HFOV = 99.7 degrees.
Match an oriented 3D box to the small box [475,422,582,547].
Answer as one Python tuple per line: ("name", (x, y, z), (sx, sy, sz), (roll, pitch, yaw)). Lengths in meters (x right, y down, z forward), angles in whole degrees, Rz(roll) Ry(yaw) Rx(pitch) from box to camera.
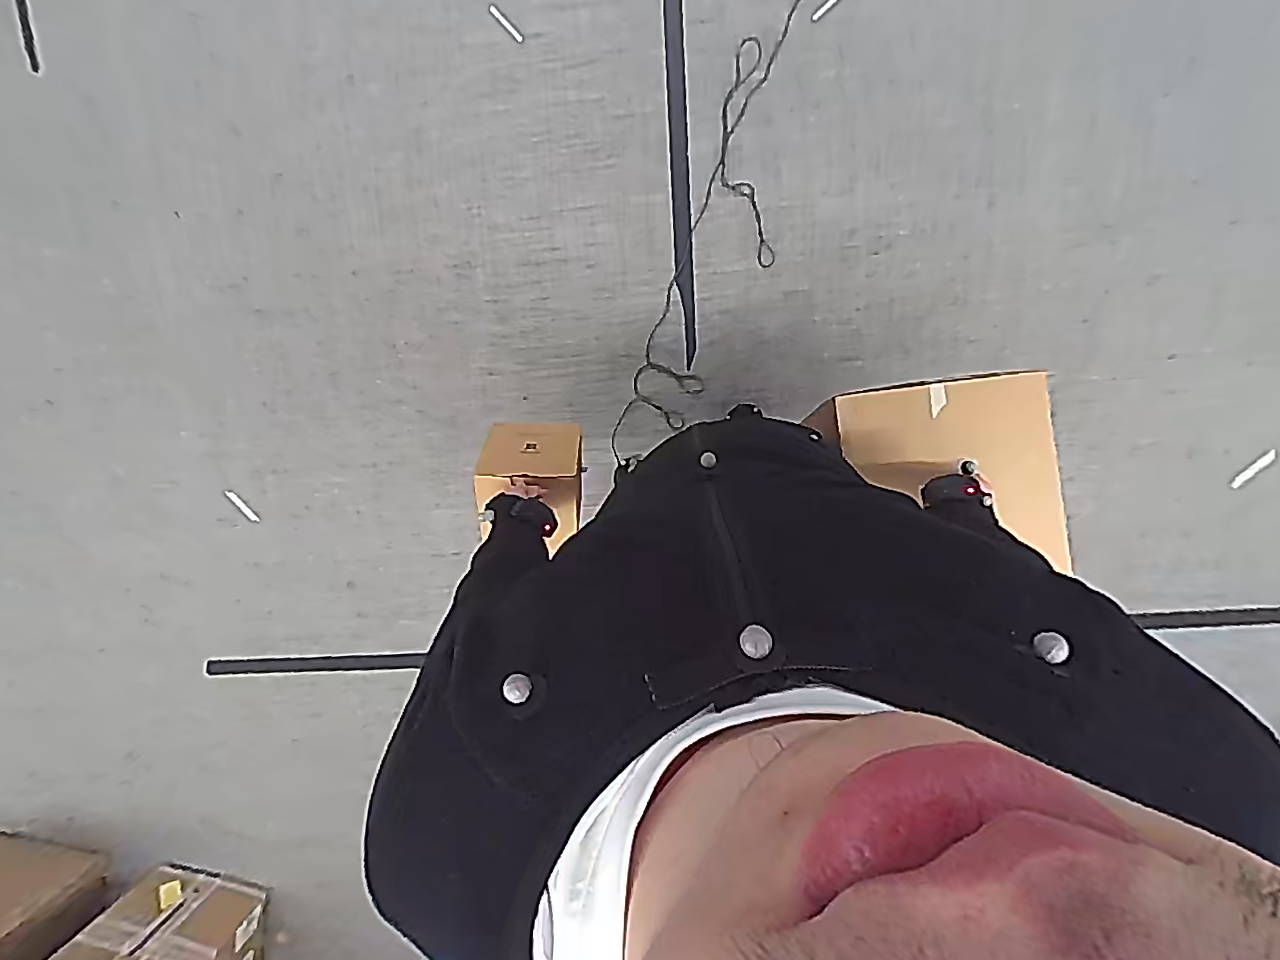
("small box", (-0.193, 0.009, 0.989), (0.168, 0.179, 0.176), (1, 125, -4))
